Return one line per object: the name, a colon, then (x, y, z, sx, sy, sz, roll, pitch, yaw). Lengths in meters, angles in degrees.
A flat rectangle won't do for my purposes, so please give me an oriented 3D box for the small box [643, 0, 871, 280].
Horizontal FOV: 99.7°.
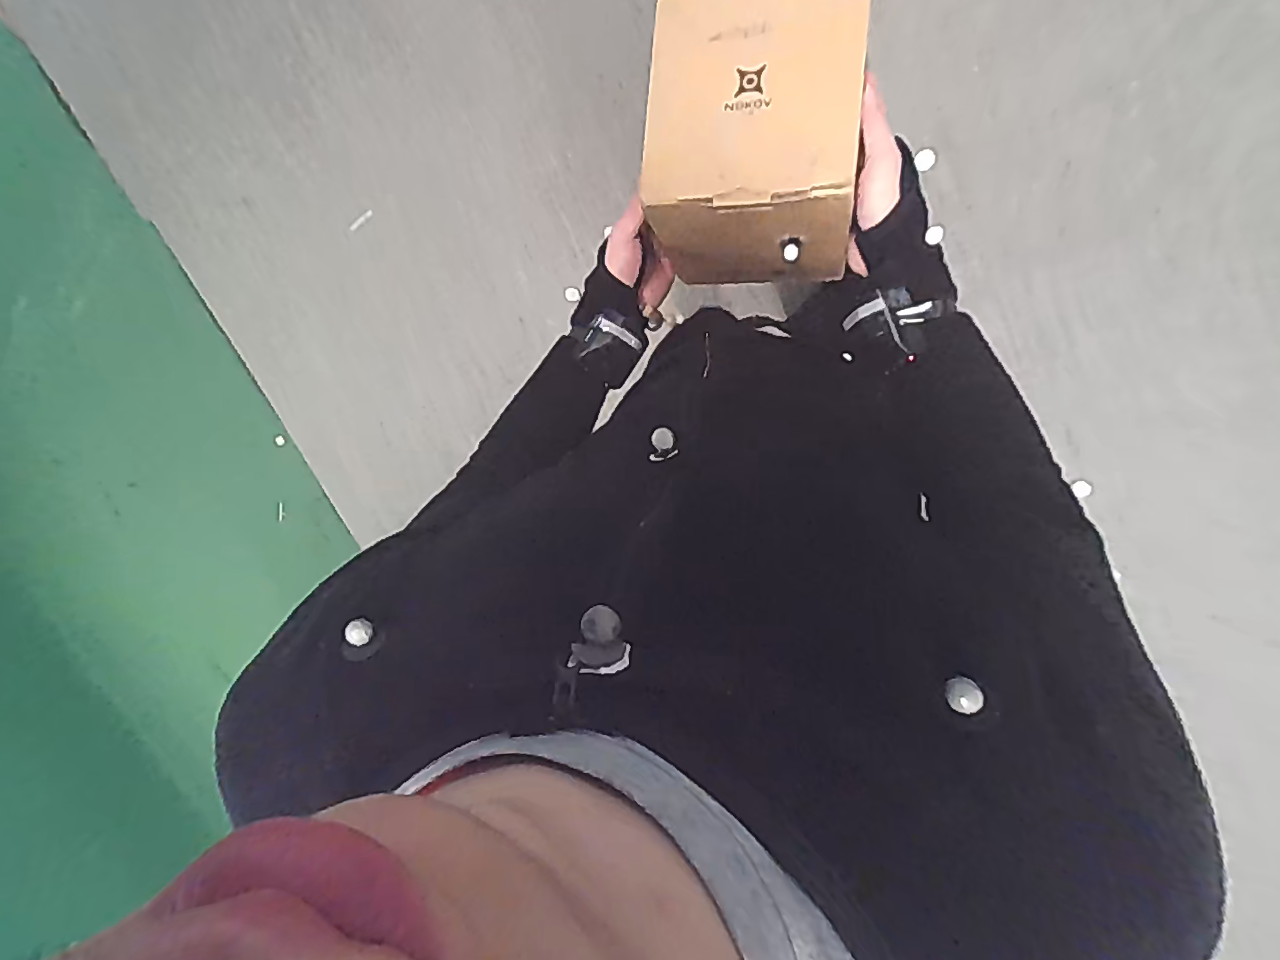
small box: (0.110, -0.295, 0.493, 0.168, 0.176, 0.179, 4, 86, 16)
